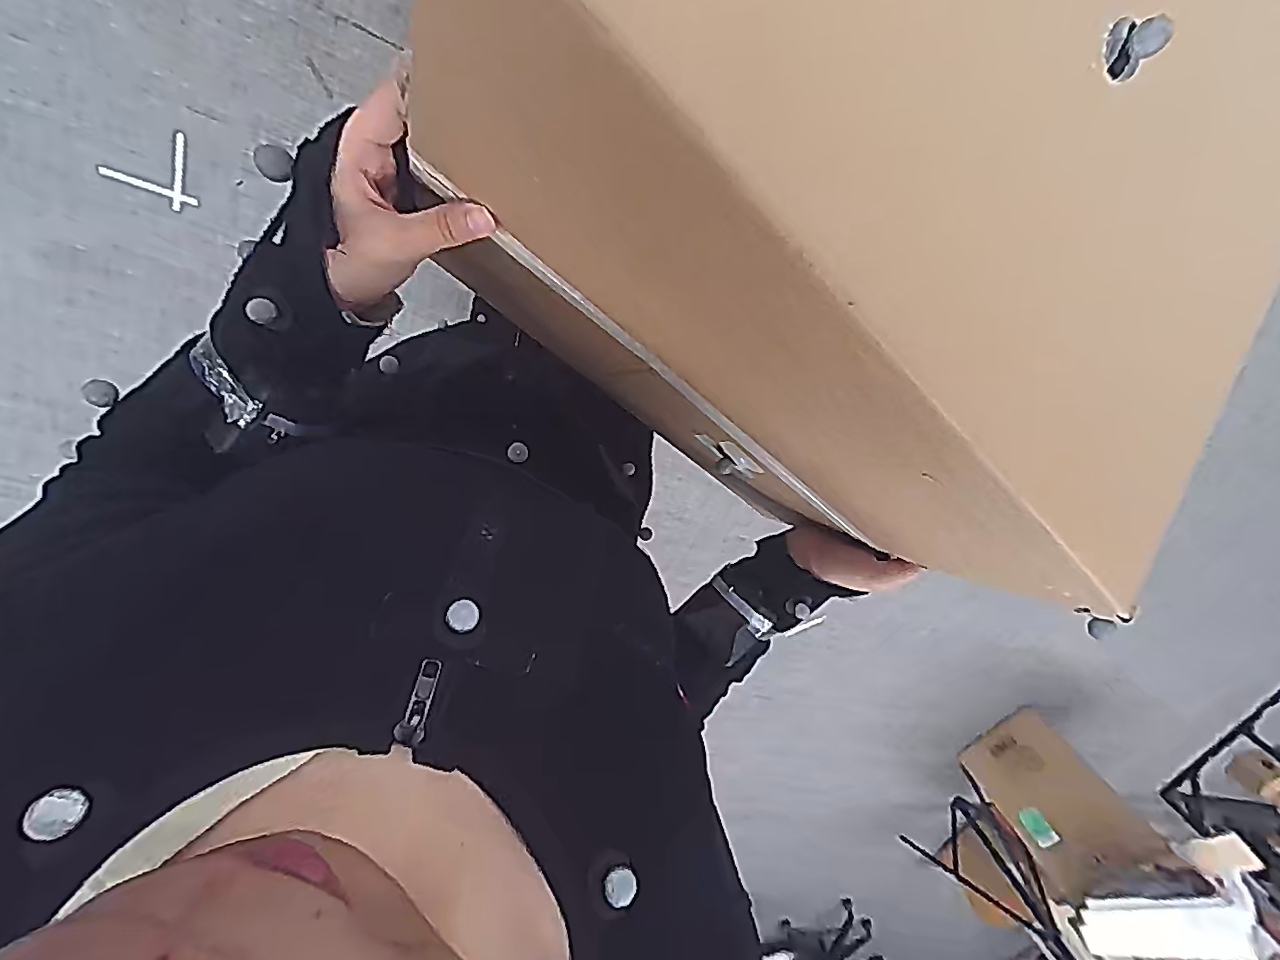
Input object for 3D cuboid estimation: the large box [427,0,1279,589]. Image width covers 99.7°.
[{"bbox_3d":[0.139,-0.194,0.330,0.408,0.320,0.320,34,83,-24],"label":"large box"}]
